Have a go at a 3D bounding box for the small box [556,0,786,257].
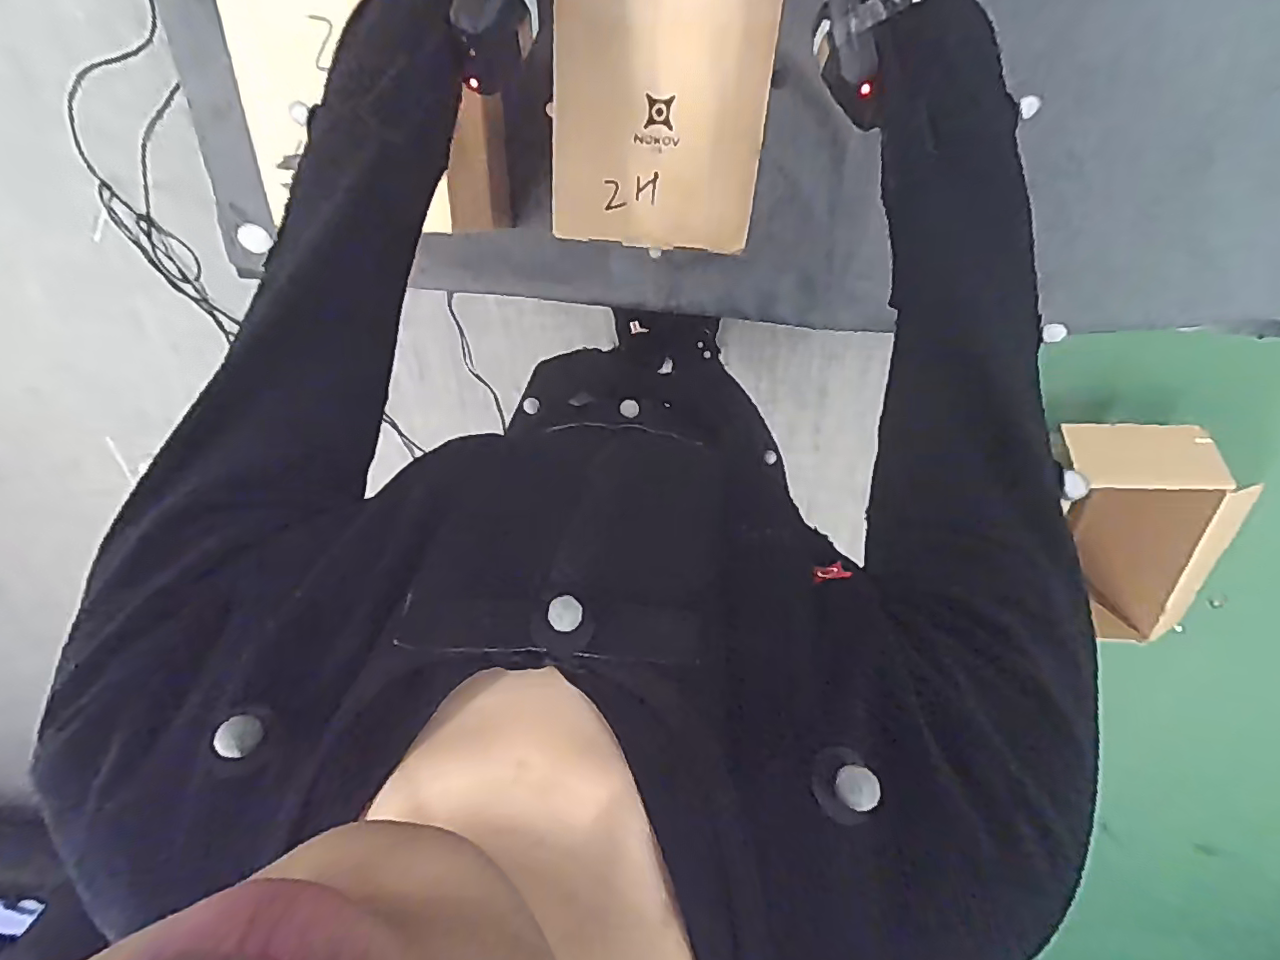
[{"bbox_3d":[0.023,-0.309,0.492,0.168,0.176,0.179,6,117,3],"label":"small box"}]
